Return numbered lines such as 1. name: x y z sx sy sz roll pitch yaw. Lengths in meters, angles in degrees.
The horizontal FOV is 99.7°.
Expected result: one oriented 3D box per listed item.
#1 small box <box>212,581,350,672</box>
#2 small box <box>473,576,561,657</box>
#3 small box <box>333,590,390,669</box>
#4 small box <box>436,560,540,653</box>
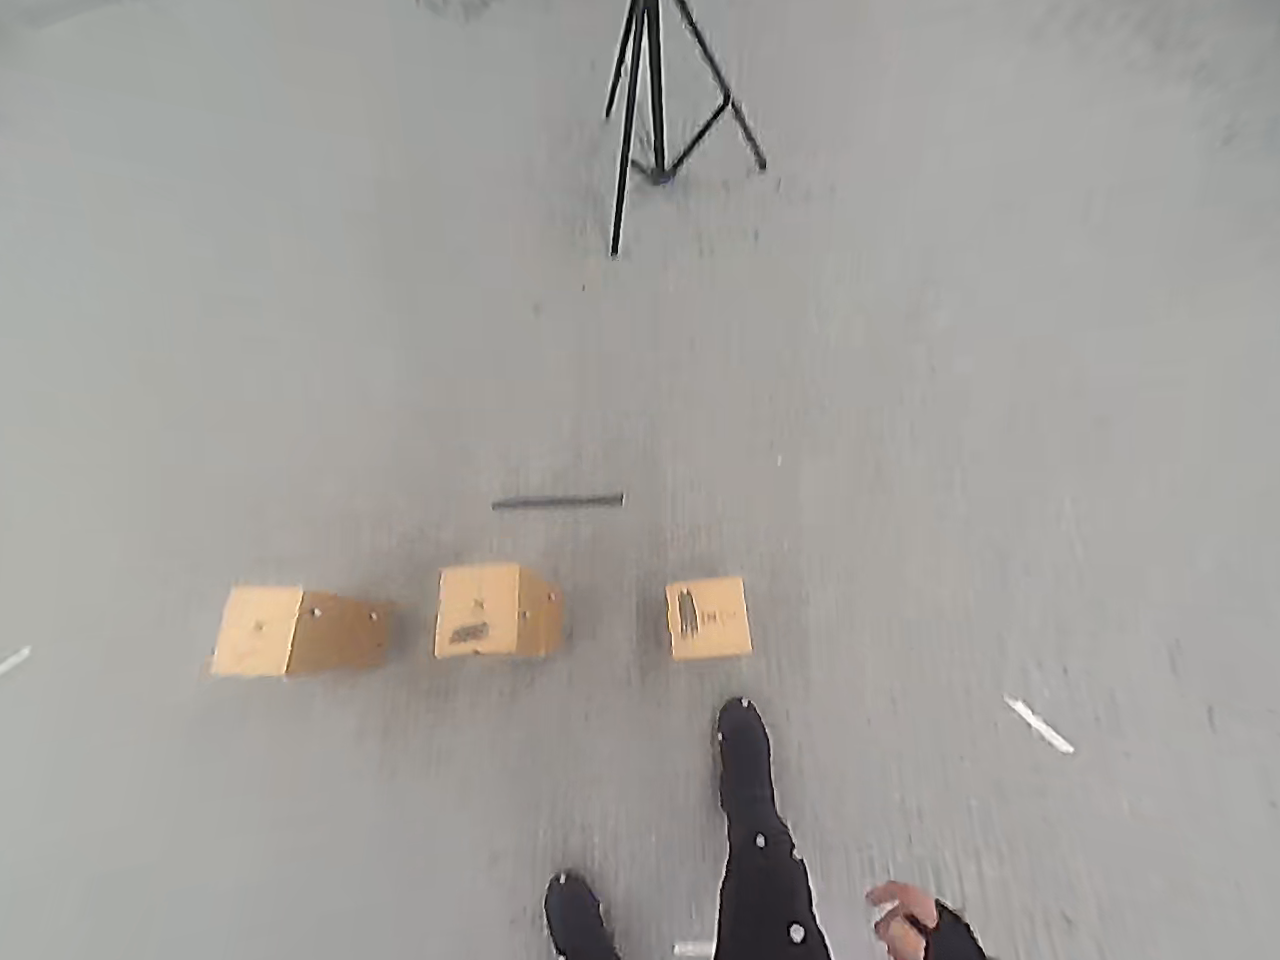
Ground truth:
1. small box: -0.766 0.320 1.175 0.168 0.176 0.179 0 72 6
2. small box: -0.289 0.334 1.304 0.168 0.176 0.179 -4 70 4
3. small box: -0.744 0.369 1.330 0.168 0.176 0.179 1 71 6
4. small box: -0.314 0.275 1.152 0.168 0.176 0.179 -4 70 4
